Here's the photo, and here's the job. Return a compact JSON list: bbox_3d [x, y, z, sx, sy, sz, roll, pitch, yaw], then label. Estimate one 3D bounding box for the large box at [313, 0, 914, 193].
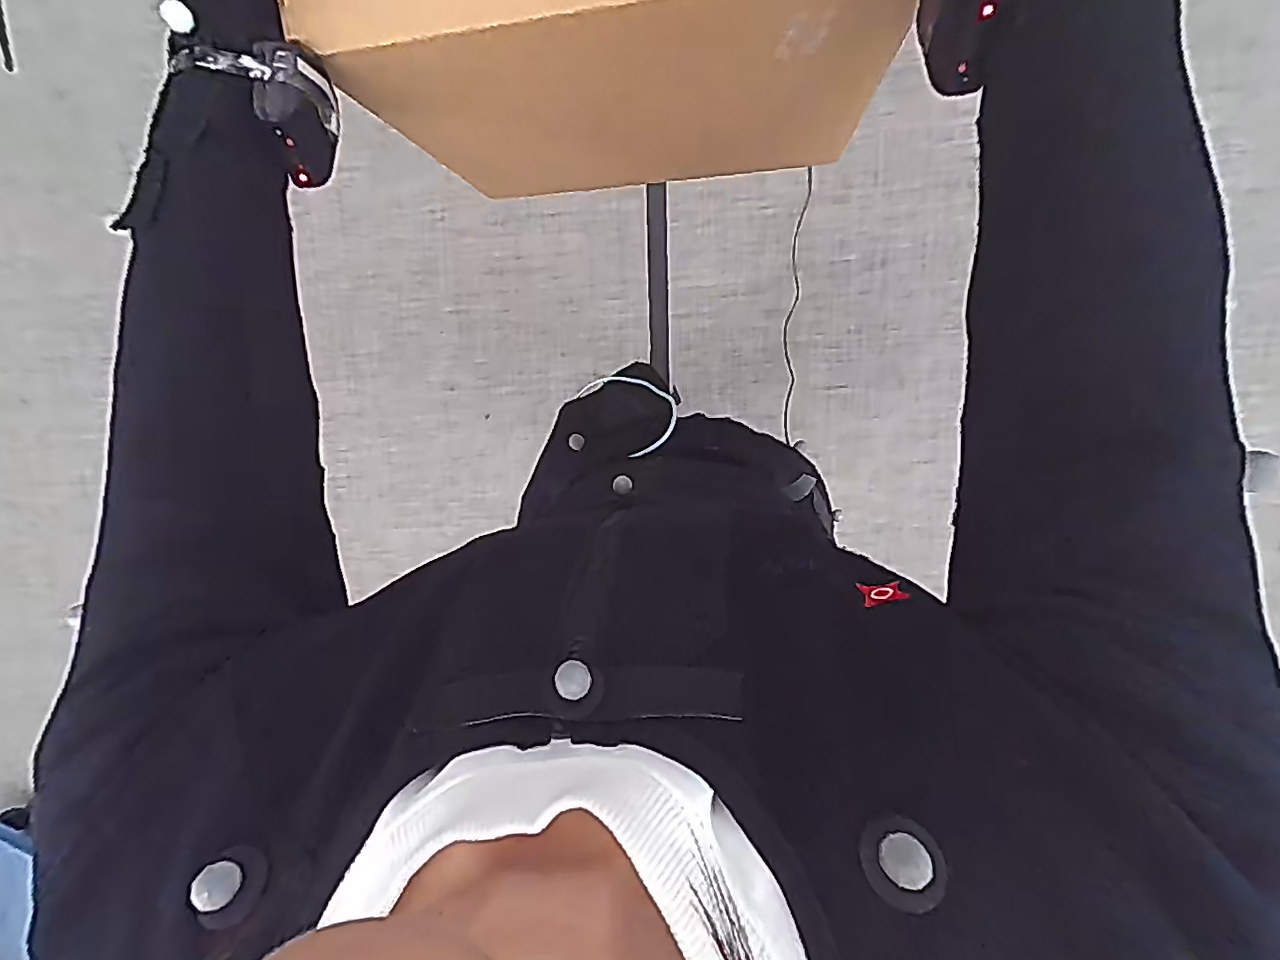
[{"bbox_3d":[-0.010,-0.472,0.449,0.408,0.320,0.320,-2,102,8],"label":"large box"}]
